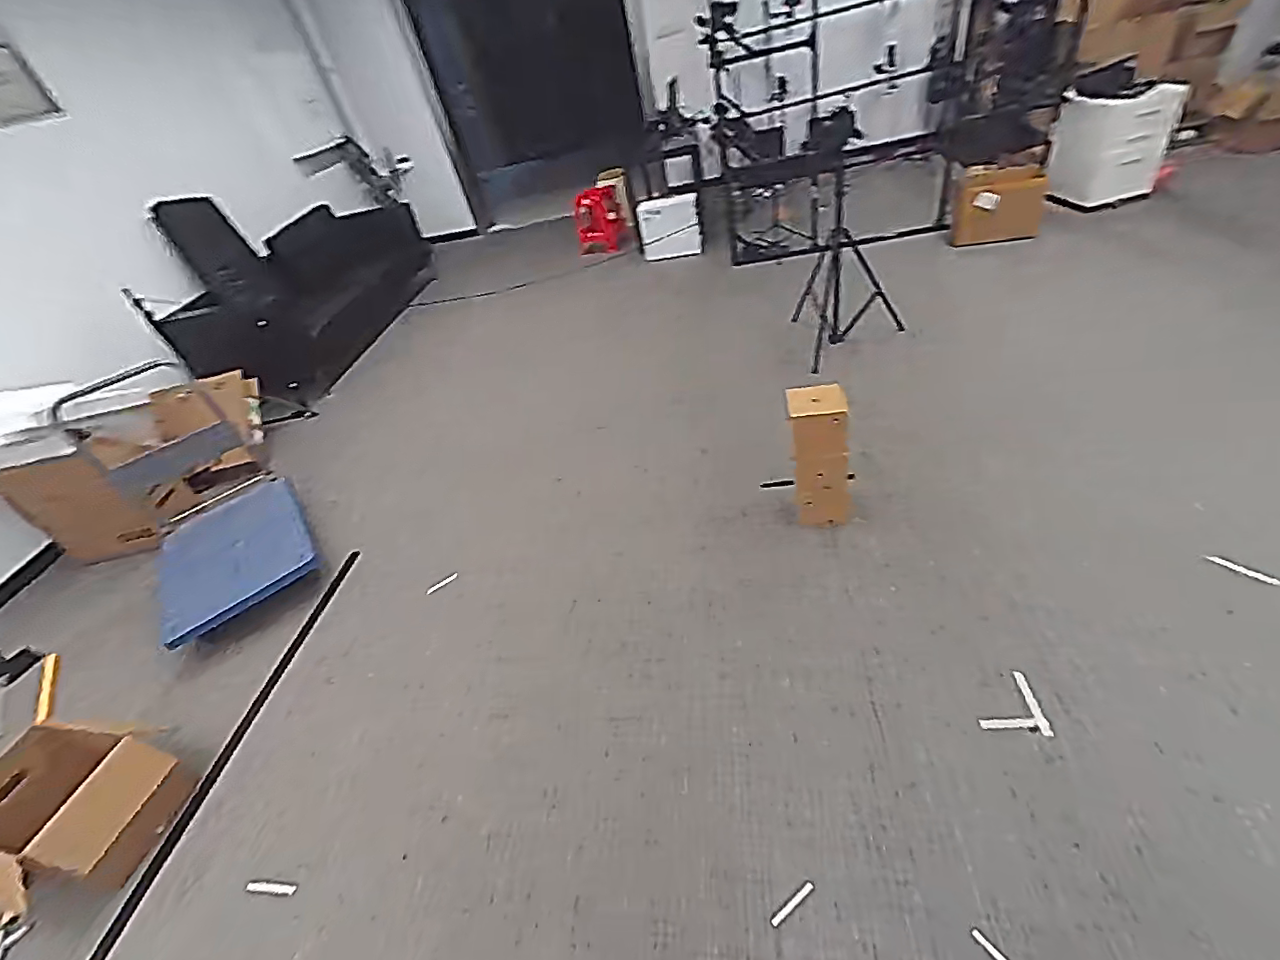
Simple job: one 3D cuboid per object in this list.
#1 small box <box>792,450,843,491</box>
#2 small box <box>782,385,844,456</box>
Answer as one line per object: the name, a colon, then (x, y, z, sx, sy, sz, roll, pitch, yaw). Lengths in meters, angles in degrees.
small box: (0.621, -0.071, 1.905, 0.168, 0.176, 0.179, -3, 40, 15)
small box: (0.577, -0.193, 1.807, 0.179, 0.176, 0.168, -6, 40, 12)
